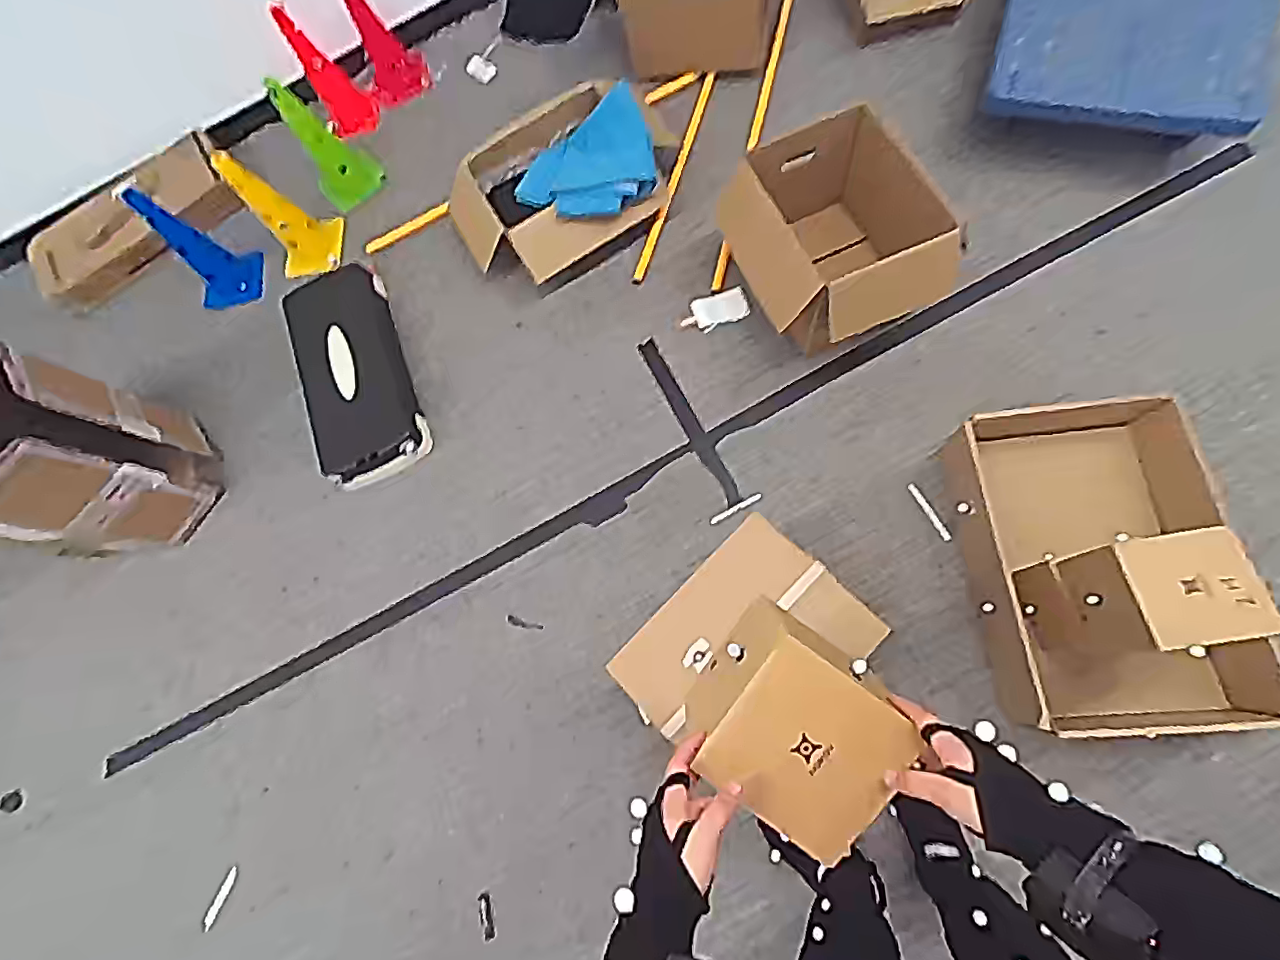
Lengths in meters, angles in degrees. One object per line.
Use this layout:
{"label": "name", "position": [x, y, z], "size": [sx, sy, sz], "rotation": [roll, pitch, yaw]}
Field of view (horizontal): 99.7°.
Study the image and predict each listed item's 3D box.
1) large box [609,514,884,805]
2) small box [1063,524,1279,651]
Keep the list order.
{"label": "large box", "position": [0.206, 0.339, 1.095], "size": [0.320, 0.320, 0.408], "rotation": [42, 85, 19]}
{"label": "small box", "position": [0.840, 0.183, 0.882], "size": [0.179, 0.176, 0.168], "rotation": [-10, 70, 5]}
